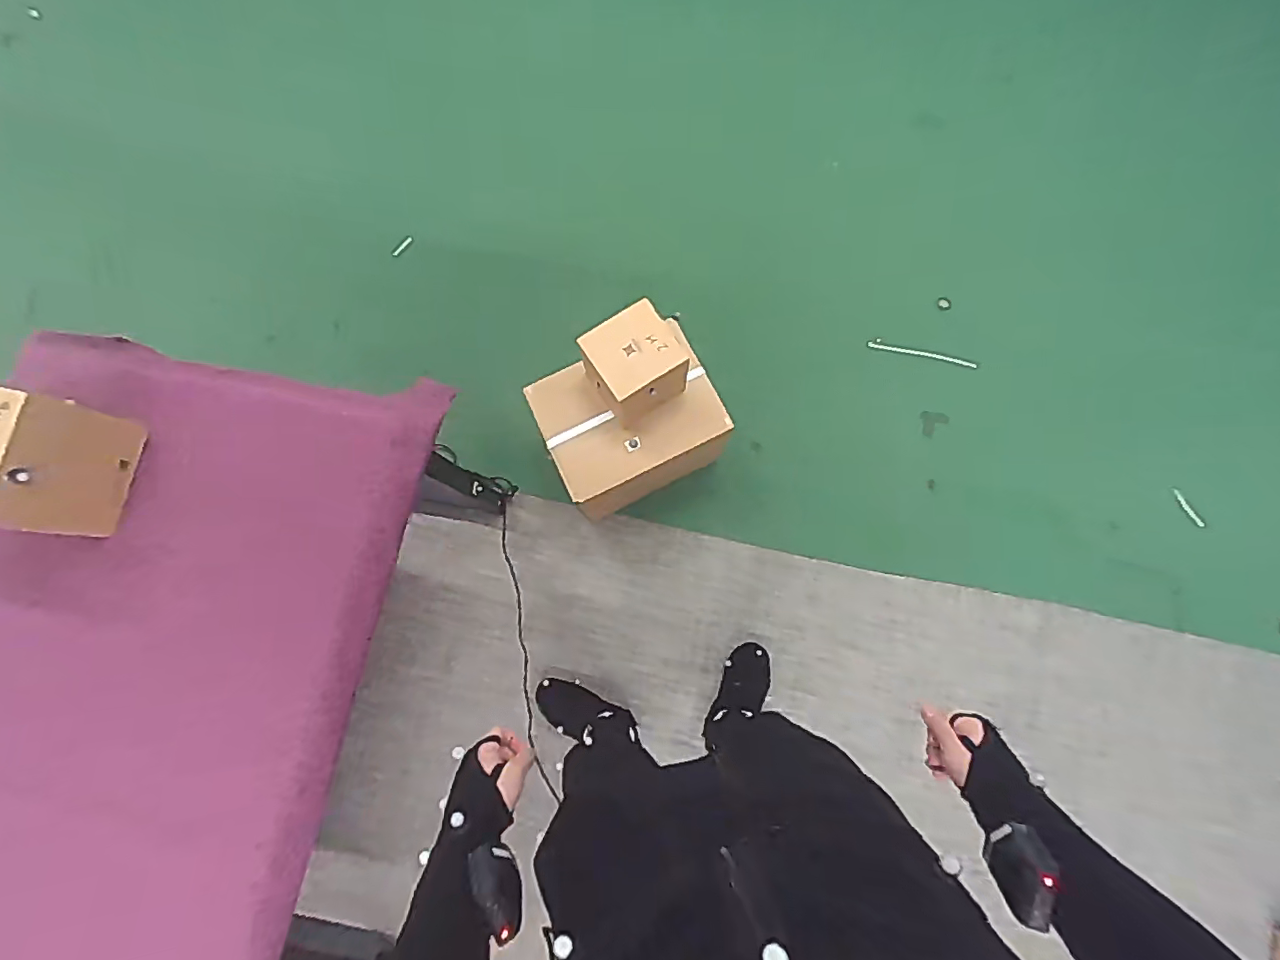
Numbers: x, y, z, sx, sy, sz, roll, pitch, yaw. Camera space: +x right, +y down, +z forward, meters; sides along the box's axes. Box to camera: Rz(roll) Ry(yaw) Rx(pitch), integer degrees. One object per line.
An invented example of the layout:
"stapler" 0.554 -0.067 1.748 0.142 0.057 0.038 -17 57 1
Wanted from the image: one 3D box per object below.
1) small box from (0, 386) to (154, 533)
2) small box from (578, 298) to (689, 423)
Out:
"small box" -0.825 -0.027 0.722 0.179 0.176 0.168 10 80 3
"small box" -0.010 -0.251 1.177 0.179 0.176 0.168 -33 78 -6
